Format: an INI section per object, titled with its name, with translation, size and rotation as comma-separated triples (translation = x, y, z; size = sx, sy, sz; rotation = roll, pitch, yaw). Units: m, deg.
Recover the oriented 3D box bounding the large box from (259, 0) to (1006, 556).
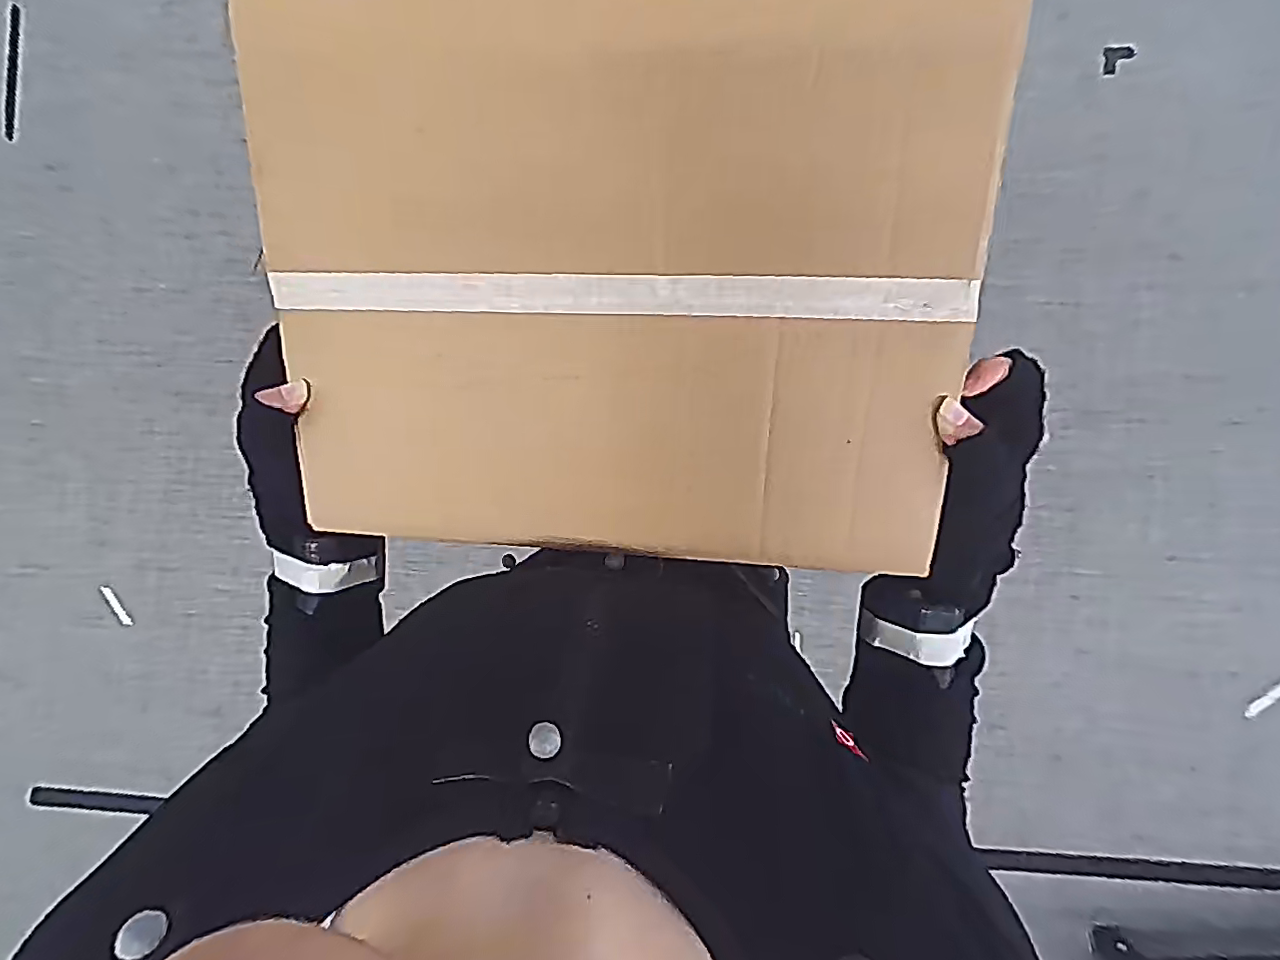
[large box]
translation = -0.005, -0.145, 0.462
size = 0.408, 0.320, 0.320
rotation = 3, 106, 6
